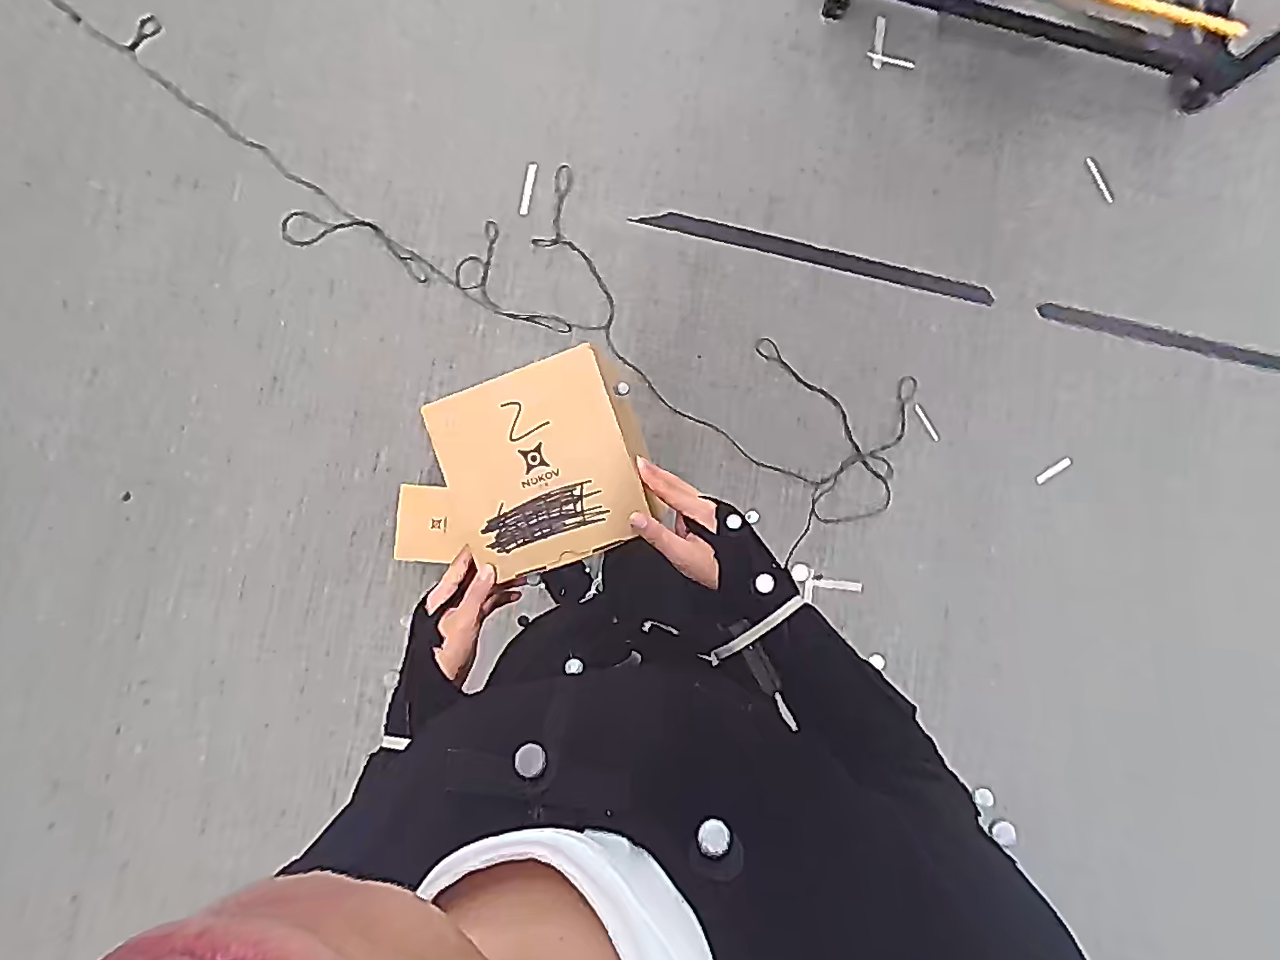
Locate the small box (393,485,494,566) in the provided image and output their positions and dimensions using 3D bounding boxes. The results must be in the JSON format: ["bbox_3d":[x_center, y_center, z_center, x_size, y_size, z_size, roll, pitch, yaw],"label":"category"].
[{"bbox_3d":[-0.440,0.103,1.232,0.179,0.176,0.168,4,87,-7],"label":"small box"}]
